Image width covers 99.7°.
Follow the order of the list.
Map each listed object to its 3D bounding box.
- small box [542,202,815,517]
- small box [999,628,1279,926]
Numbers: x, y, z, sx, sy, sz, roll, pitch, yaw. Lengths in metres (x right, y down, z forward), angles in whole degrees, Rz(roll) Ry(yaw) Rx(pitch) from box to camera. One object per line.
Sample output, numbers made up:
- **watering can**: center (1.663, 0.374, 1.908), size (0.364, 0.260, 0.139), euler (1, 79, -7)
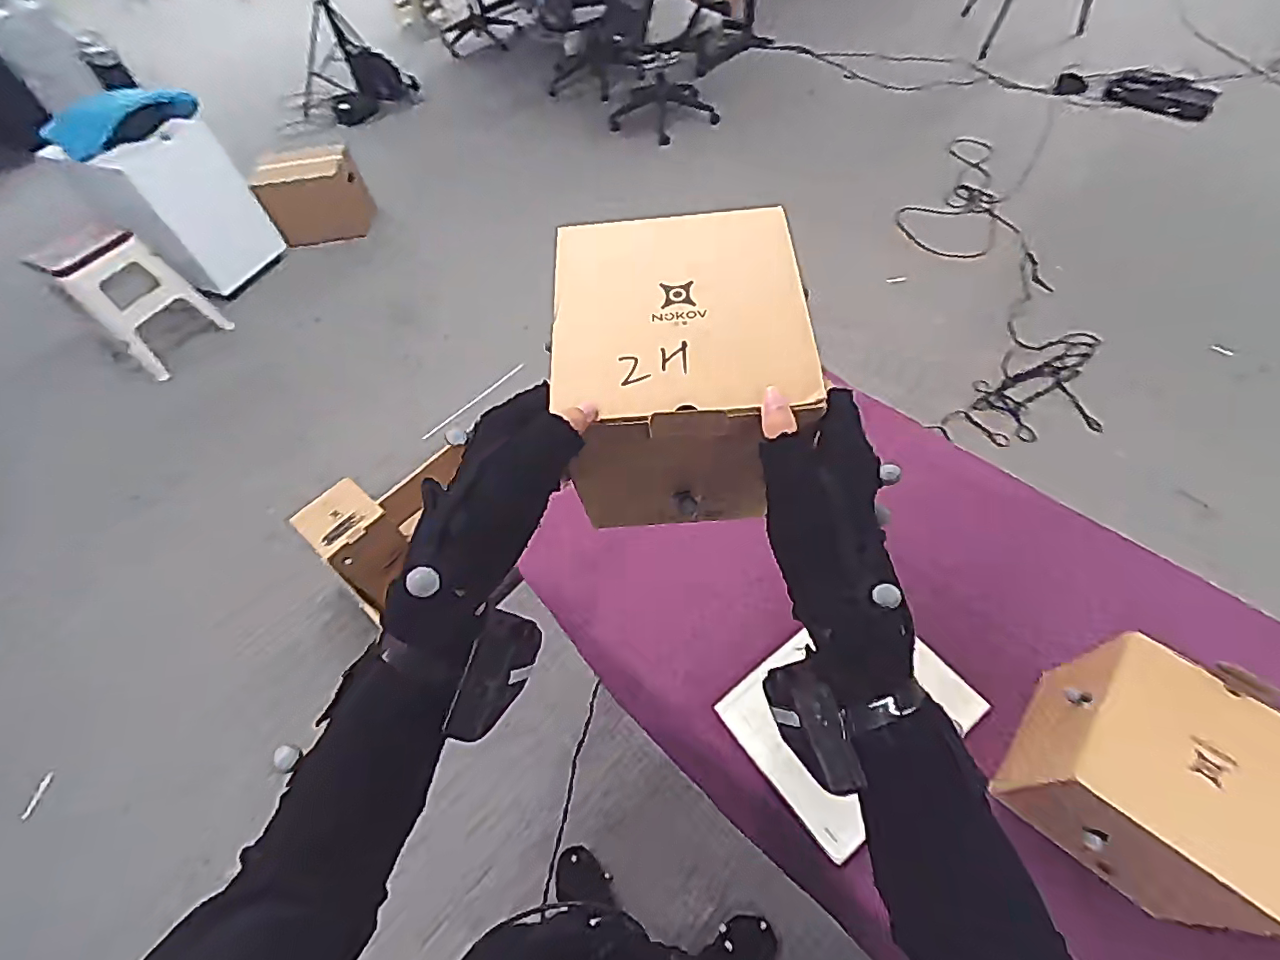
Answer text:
- **small box**: center (0.025, -0.085, 0.429), size (0.168, 0.176, 0.179), euler (-4, 64, 3)
- **small box**: center (0.497, 0.288, 0.534), size (0.168, 0.176, 0.179), euler (35, 65, 25)
